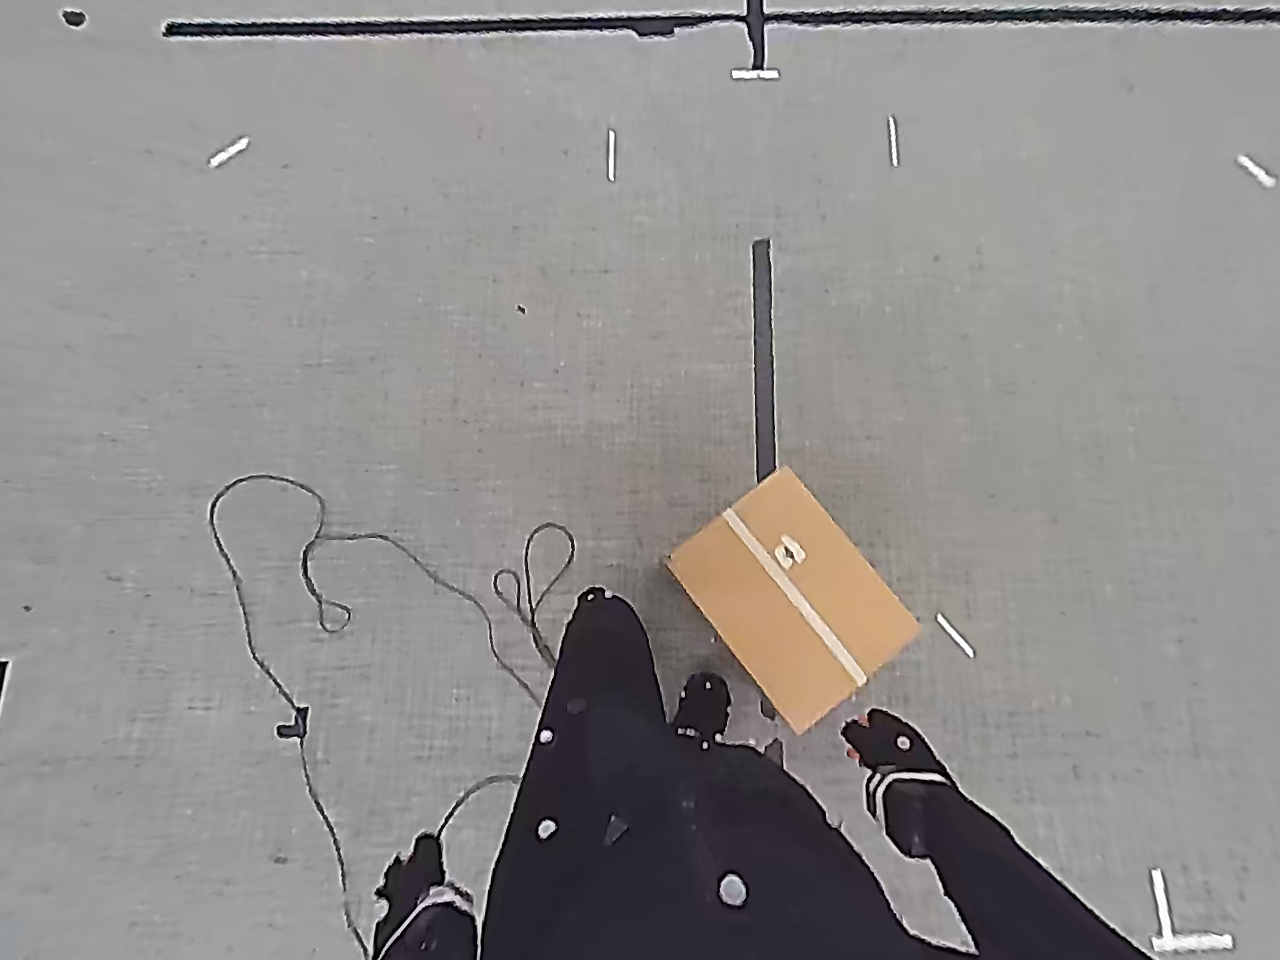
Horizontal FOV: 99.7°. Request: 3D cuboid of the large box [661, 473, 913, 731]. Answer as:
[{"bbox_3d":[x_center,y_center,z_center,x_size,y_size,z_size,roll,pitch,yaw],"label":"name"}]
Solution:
[{"bbox_3d":[0.285,0.253,1.189,0.320,0.320,0.408,-37,81,-6],"label":"large box"}]
